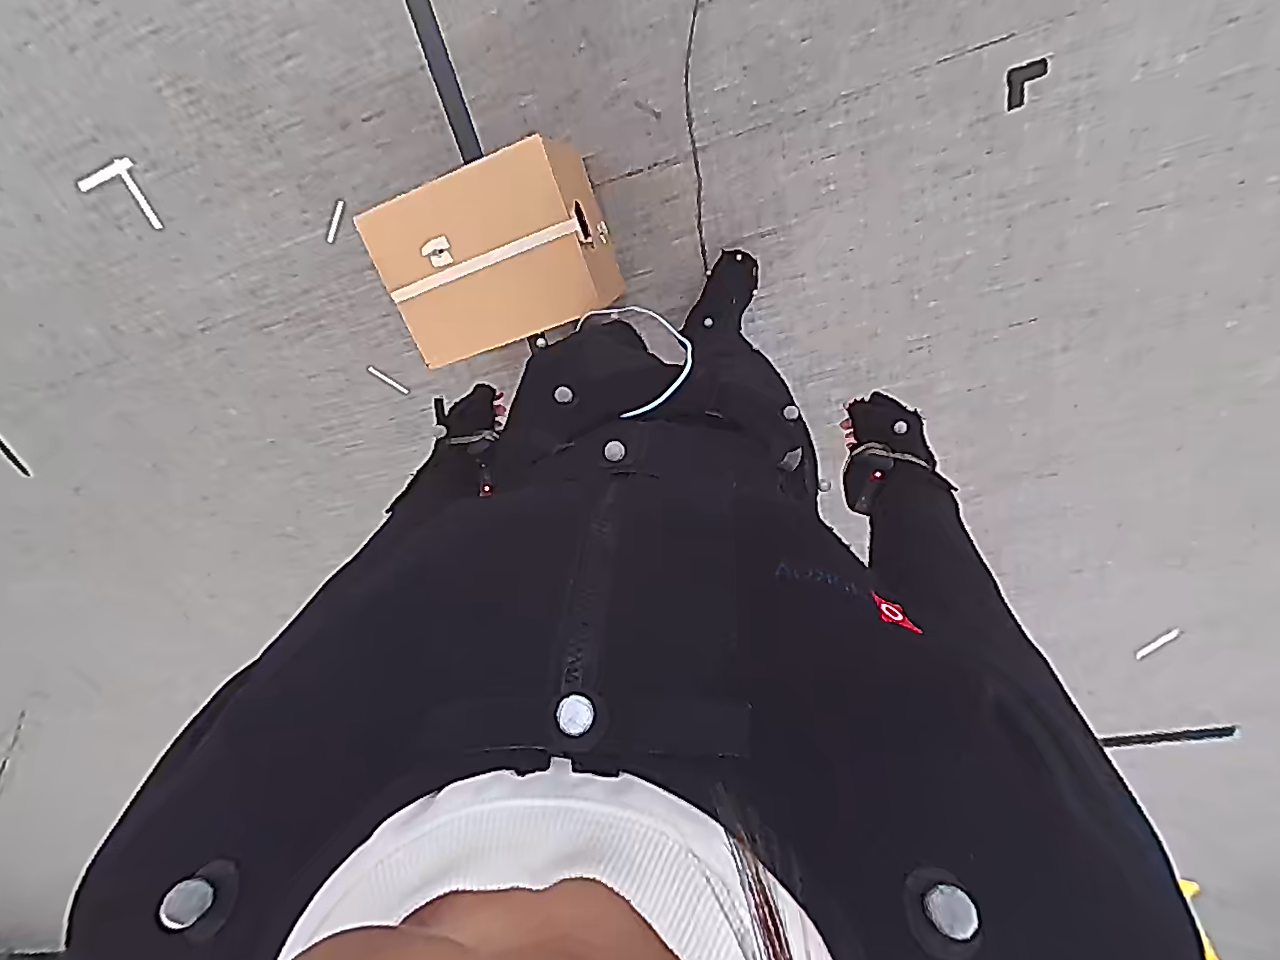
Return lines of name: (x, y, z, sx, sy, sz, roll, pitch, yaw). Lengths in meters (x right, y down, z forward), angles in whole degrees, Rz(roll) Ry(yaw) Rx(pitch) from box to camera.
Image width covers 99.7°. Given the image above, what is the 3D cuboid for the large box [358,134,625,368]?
large box: (-0.288, -0.484, 1.168, 0.408, 0.320, 0.320, -14, 113, 15)
